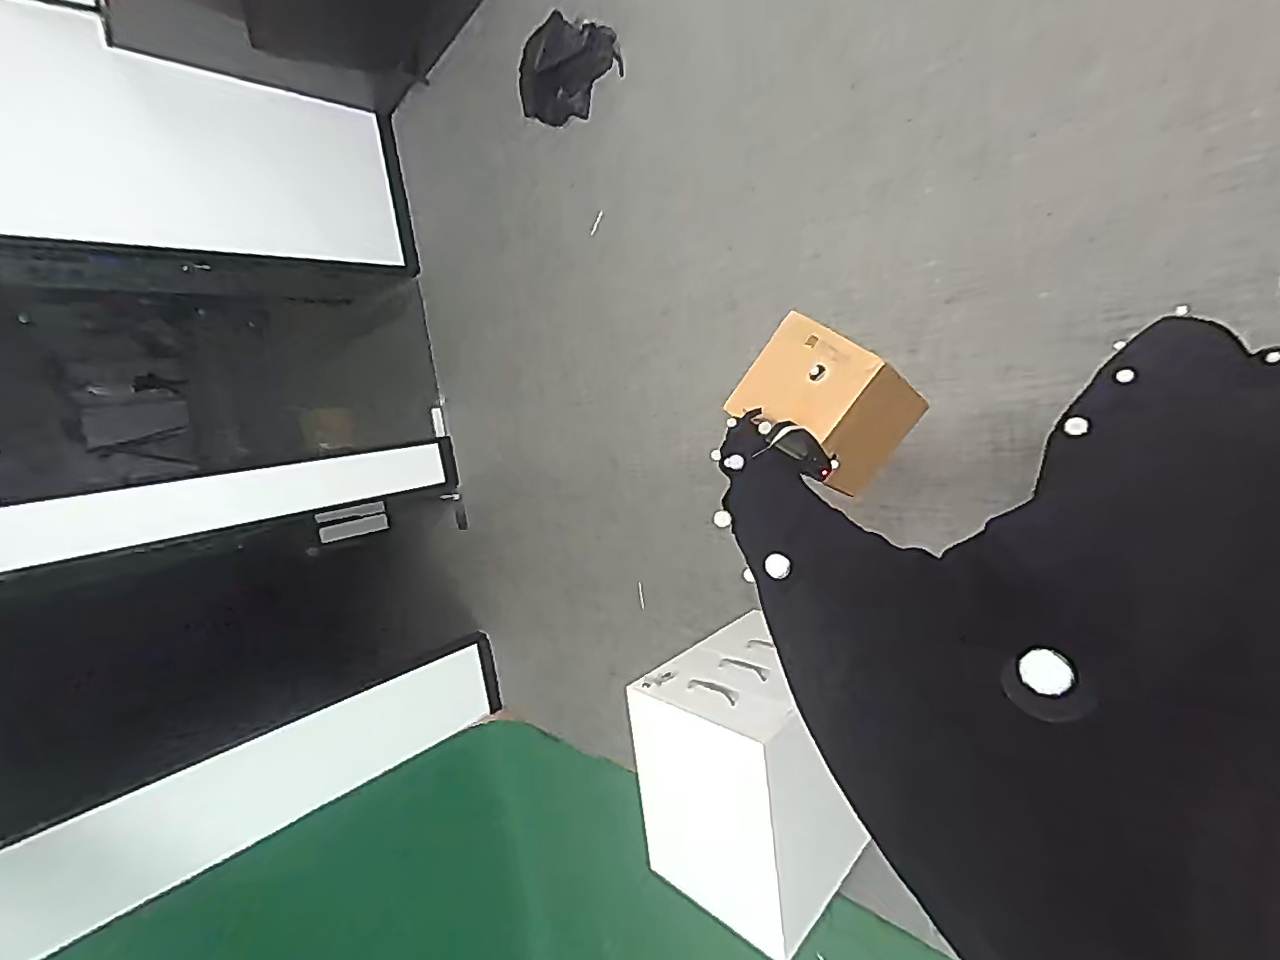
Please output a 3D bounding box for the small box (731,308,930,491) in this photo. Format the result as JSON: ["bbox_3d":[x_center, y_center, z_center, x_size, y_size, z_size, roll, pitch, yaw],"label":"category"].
[{"bbox_3d":[0.271,-0.112,0.767,0.176,0.179,0.168,-55,47,17],"label":"small box"}]
